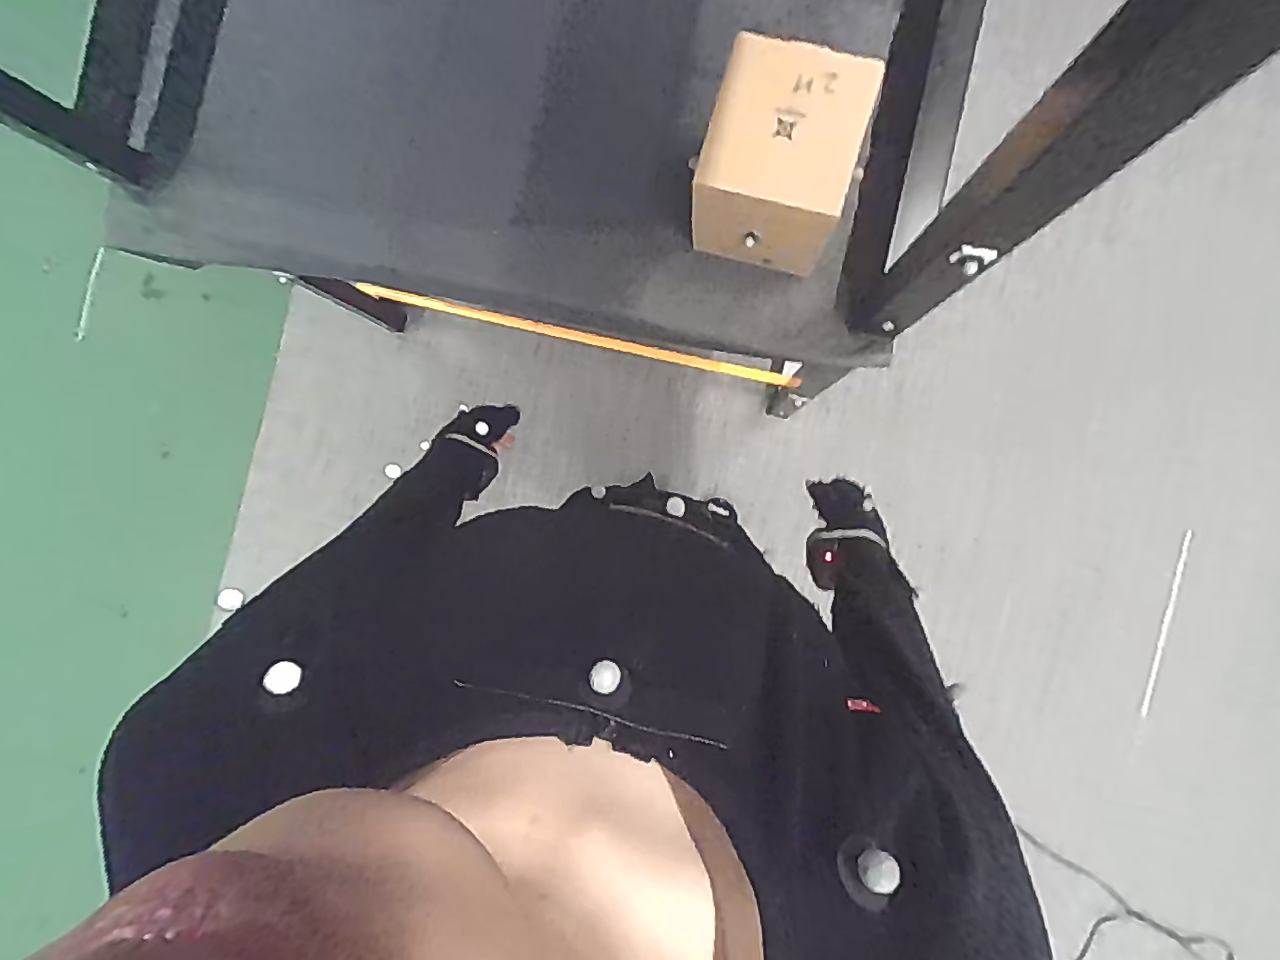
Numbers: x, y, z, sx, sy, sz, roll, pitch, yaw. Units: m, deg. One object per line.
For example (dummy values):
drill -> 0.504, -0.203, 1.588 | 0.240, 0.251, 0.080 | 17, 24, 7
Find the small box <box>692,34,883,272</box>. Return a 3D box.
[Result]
small box -> 0.168, -0.385, 0.669 | 0.168, 0.176, 0.179 | 17, 91, 5
